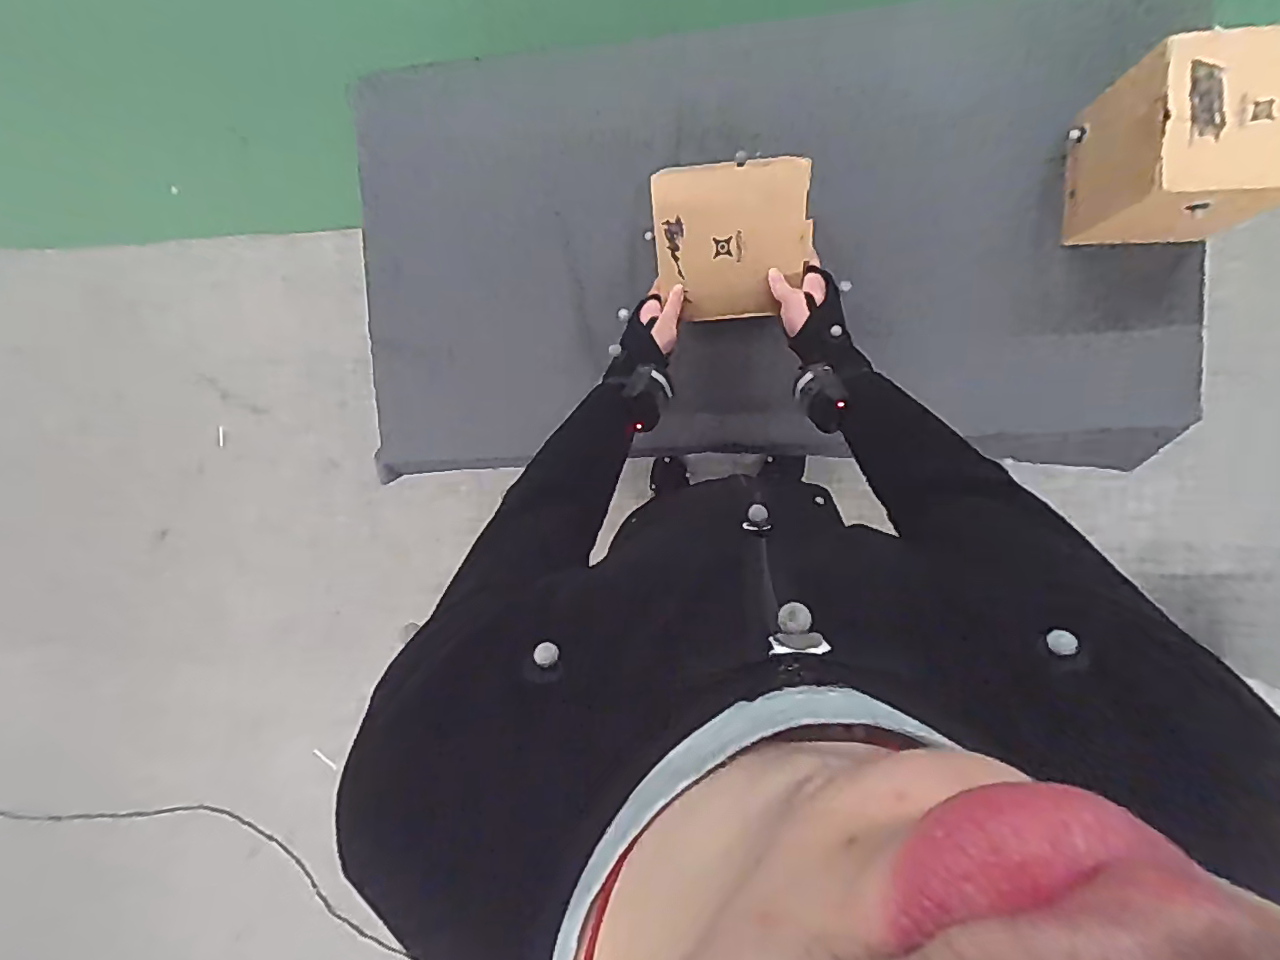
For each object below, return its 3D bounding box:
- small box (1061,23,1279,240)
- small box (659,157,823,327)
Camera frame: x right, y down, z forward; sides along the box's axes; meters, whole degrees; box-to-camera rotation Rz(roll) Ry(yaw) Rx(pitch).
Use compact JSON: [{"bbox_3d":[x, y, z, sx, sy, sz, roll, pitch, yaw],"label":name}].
[{"bbox_3d":[0.659,-0.406,0.659,0.179,0.176,0.168,-1,94,4],"label":"small box"},{"bbox_3d":[0.117,-0.303,0.681,0.179,0.176,0.168,-3,121,6],"label":"small box"}]
